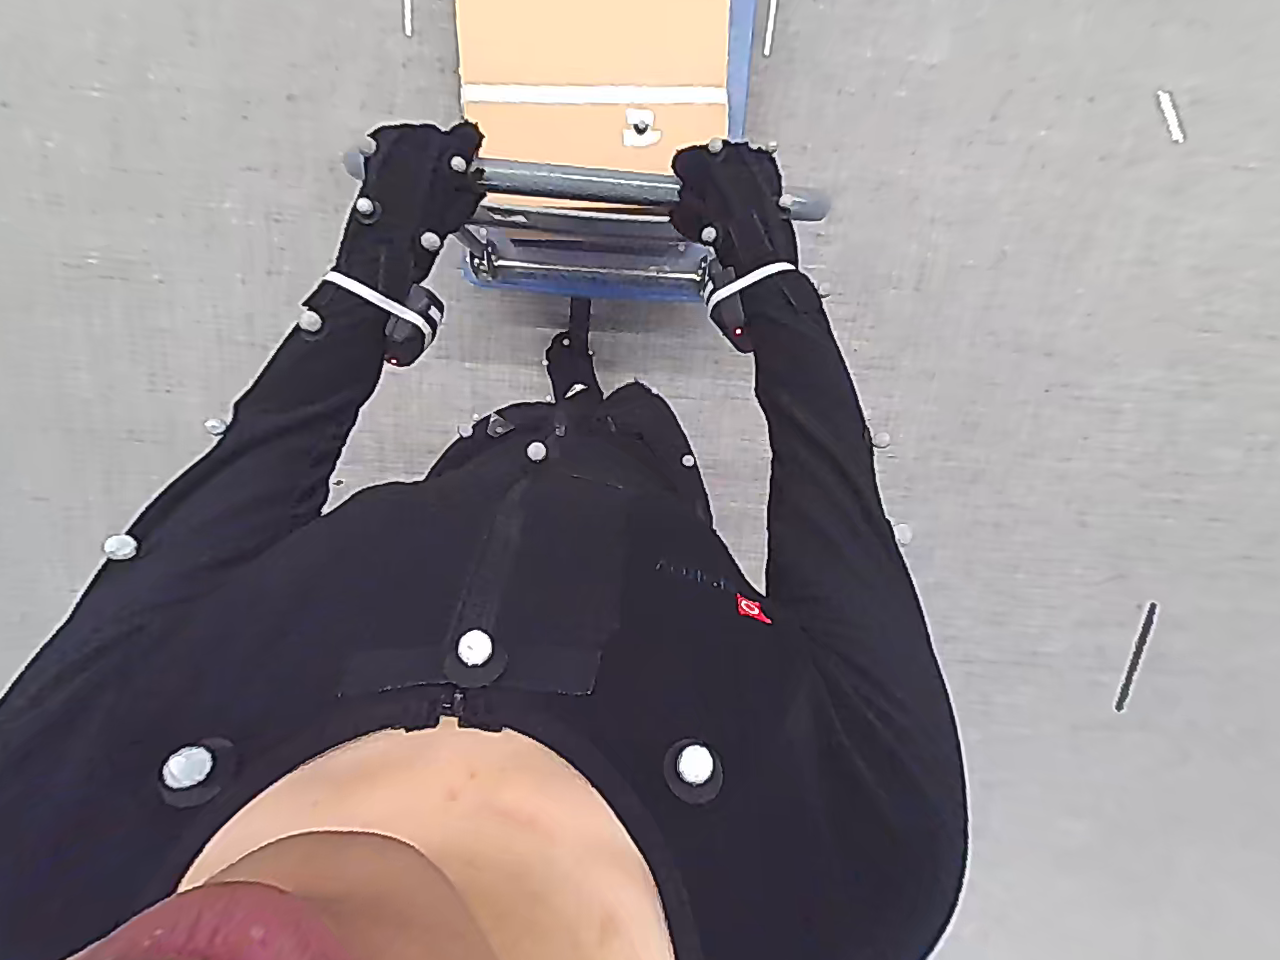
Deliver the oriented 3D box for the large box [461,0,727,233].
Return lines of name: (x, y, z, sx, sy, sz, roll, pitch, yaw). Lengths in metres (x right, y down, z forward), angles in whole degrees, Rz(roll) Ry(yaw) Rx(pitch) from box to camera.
large box: (-0.076, -0.644, 0.980, 0.408, 0.320, 0.320, -2, 106, -4)
